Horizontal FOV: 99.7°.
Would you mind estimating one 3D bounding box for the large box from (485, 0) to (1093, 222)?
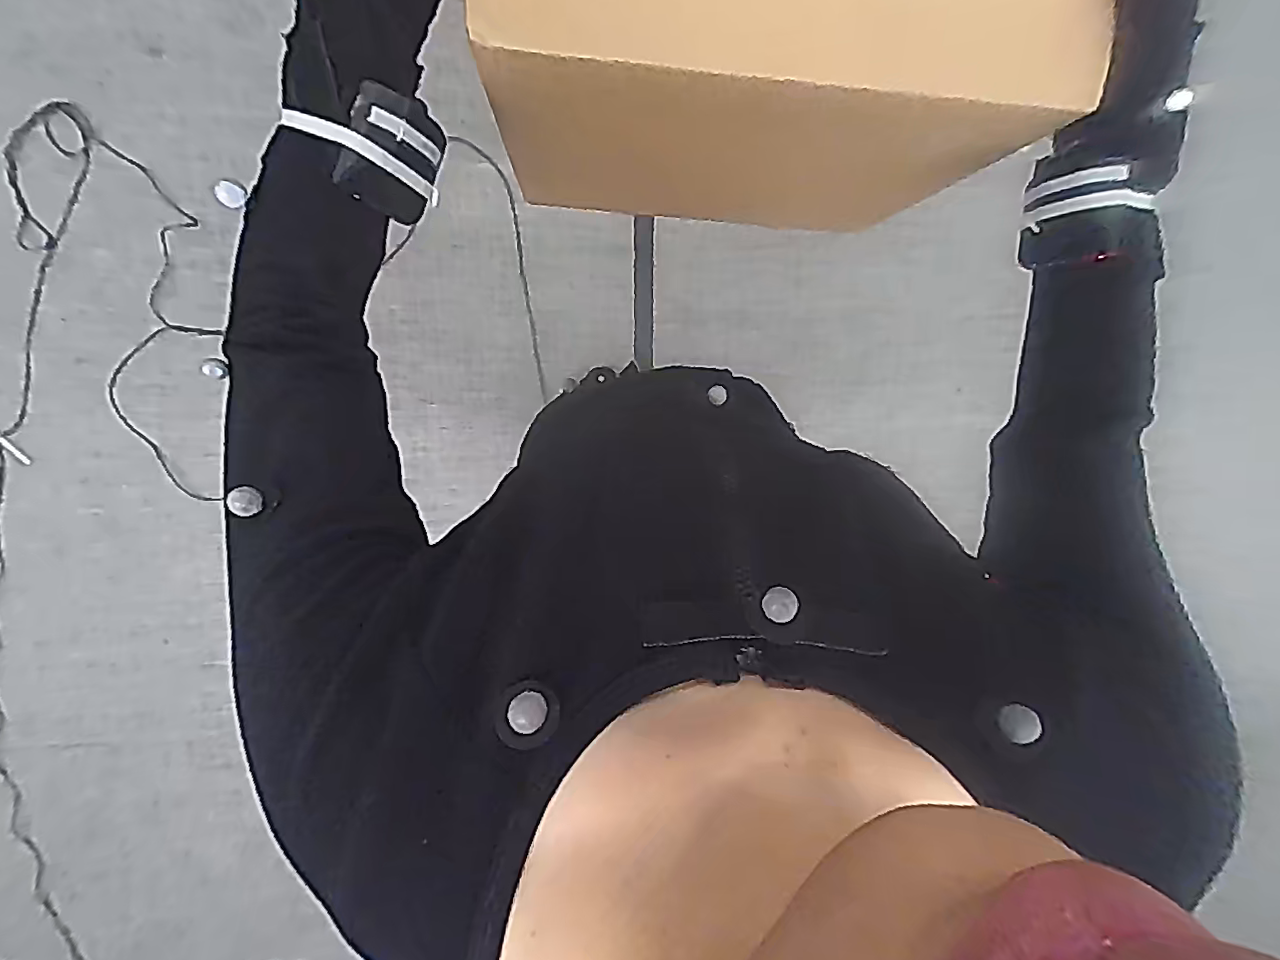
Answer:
[{"bbox_3d":[0.089,-0.437,0.467,0.408,0.320,0.320,1,101,-7],"label":"large box"}]
